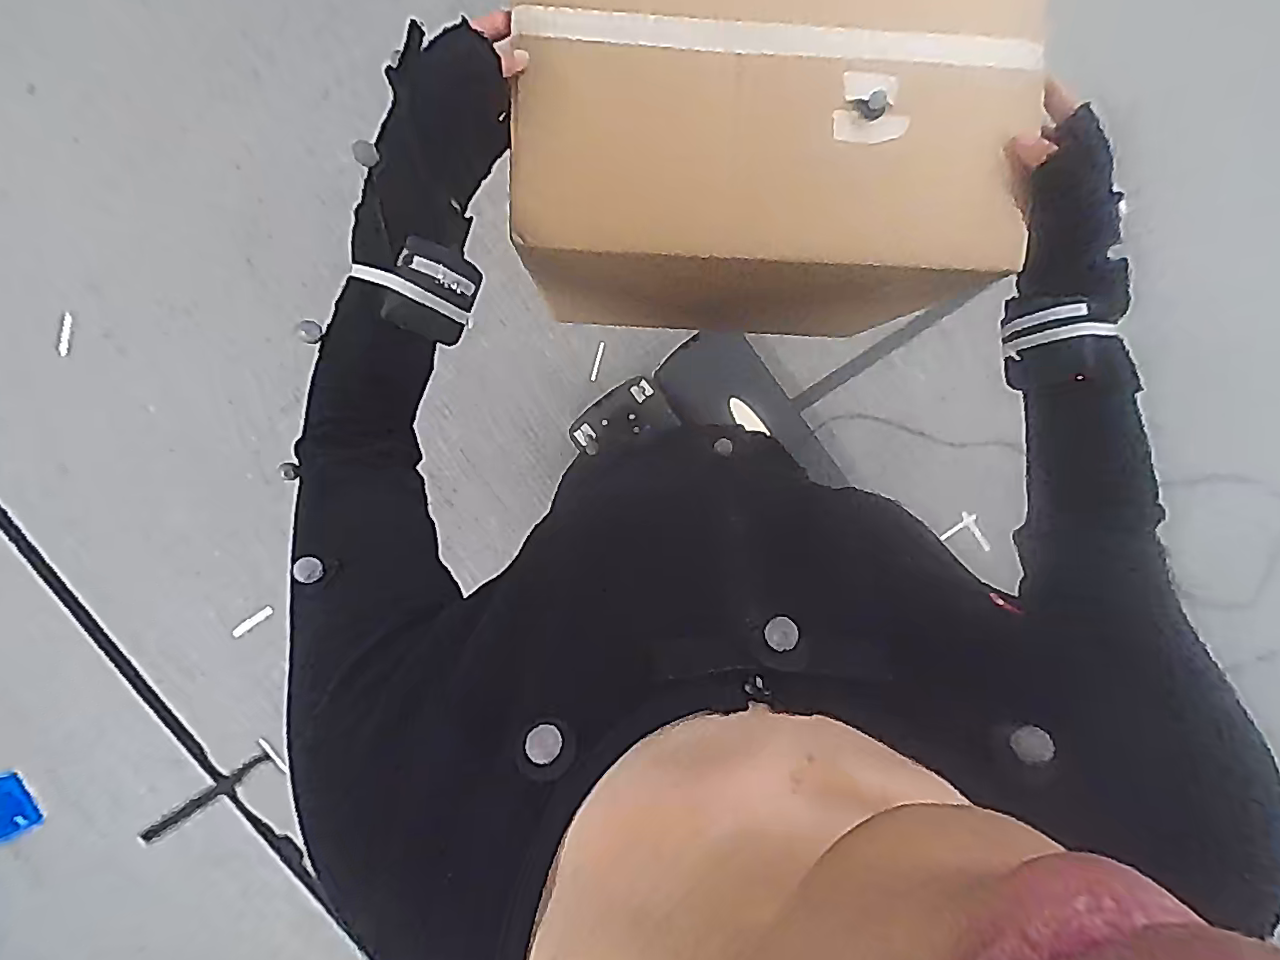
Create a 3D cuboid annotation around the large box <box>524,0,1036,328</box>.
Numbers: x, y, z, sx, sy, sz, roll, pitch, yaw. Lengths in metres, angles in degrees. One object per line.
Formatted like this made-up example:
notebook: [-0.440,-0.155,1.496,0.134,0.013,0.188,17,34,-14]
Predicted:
large box: [0.100,-0.350,0.568,0.408,0.320,0.320,2,96,-4]
